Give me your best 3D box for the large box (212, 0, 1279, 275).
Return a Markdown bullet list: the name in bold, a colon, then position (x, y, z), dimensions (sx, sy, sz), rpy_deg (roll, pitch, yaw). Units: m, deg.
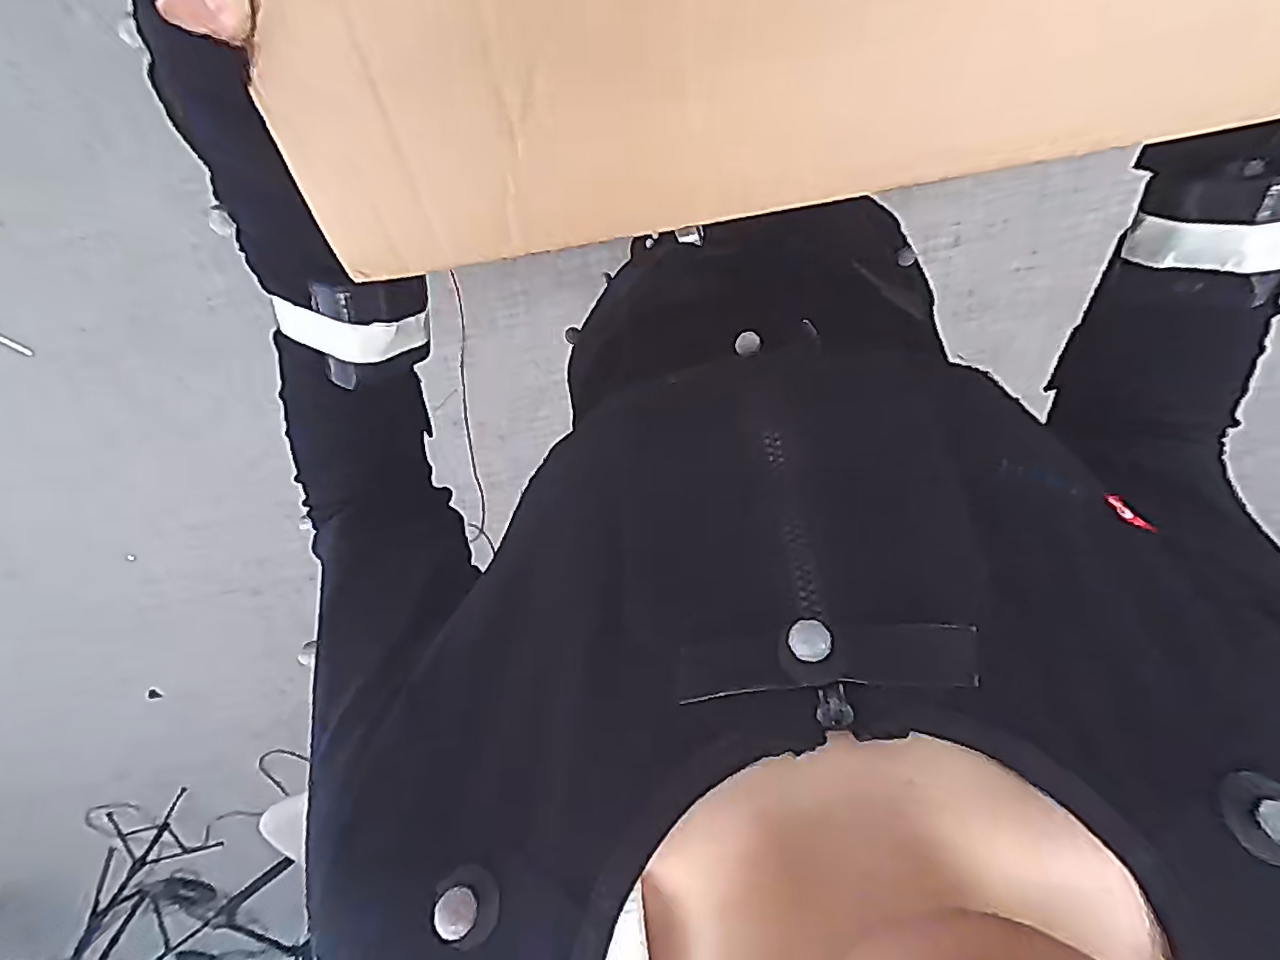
- **large box**: position (0.030, -0.340, 0.253), dimensions (0.408, 0.320, 0.320), rpy_deg (-8, 132, 5)
